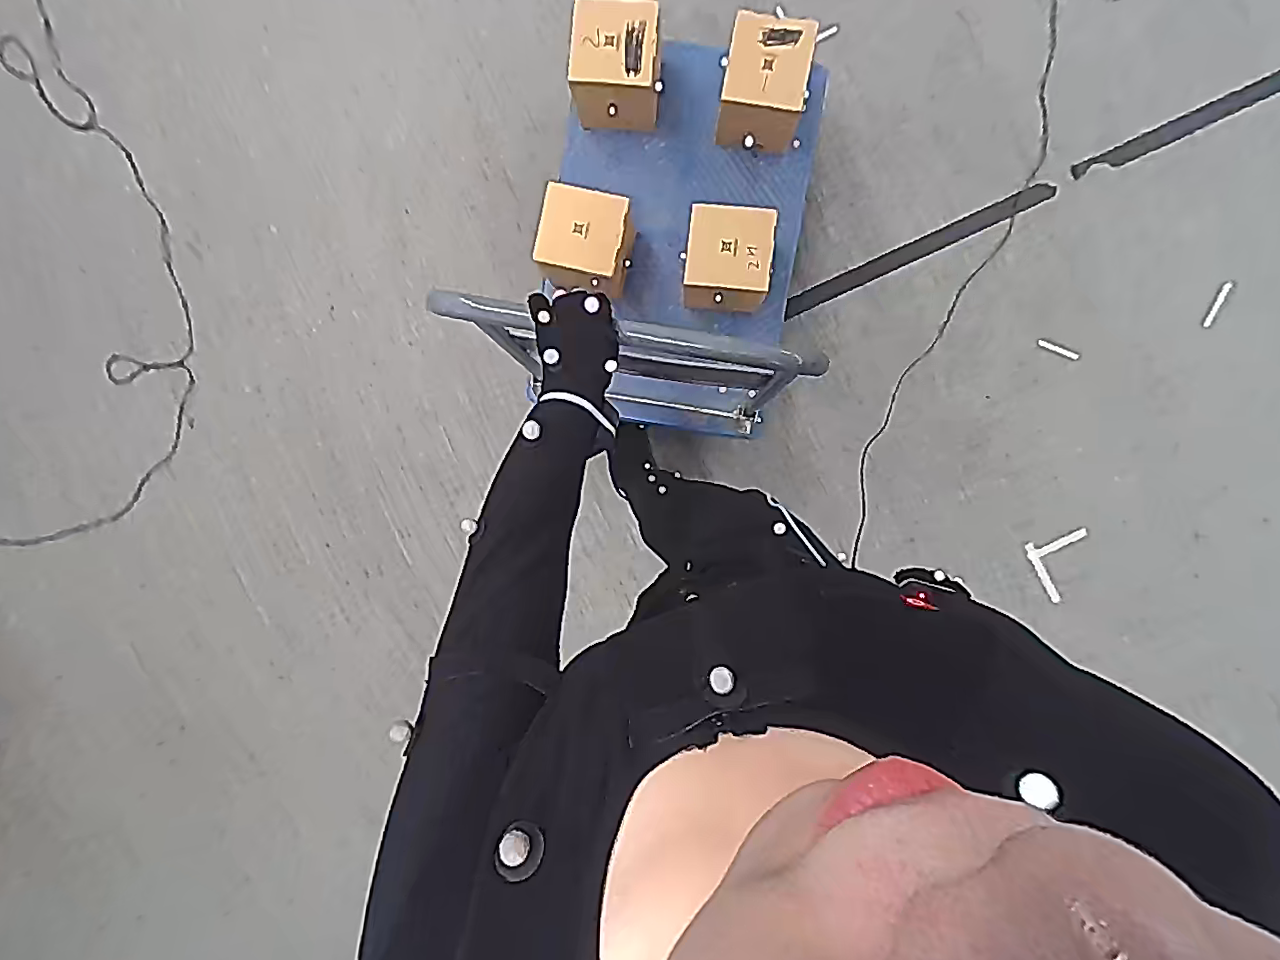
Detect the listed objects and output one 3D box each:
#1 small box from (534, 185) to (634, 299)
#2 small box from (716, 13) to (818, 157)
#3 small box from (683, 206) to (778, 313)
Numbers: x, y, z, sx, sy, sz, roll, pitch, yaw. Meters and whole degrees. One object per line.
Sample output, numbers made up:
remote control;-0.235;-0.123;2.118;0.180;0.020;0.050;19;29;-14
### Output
small box;-0.117;-0.517;1.197;0.179;0.176;0.168;12;93;1
small box;0.262;-0.835;1.157;0.168;0.176;0.179;11;95;3
small box;0.189;-0.473;1.179;0.179;0.176;0.168;7;93;3
